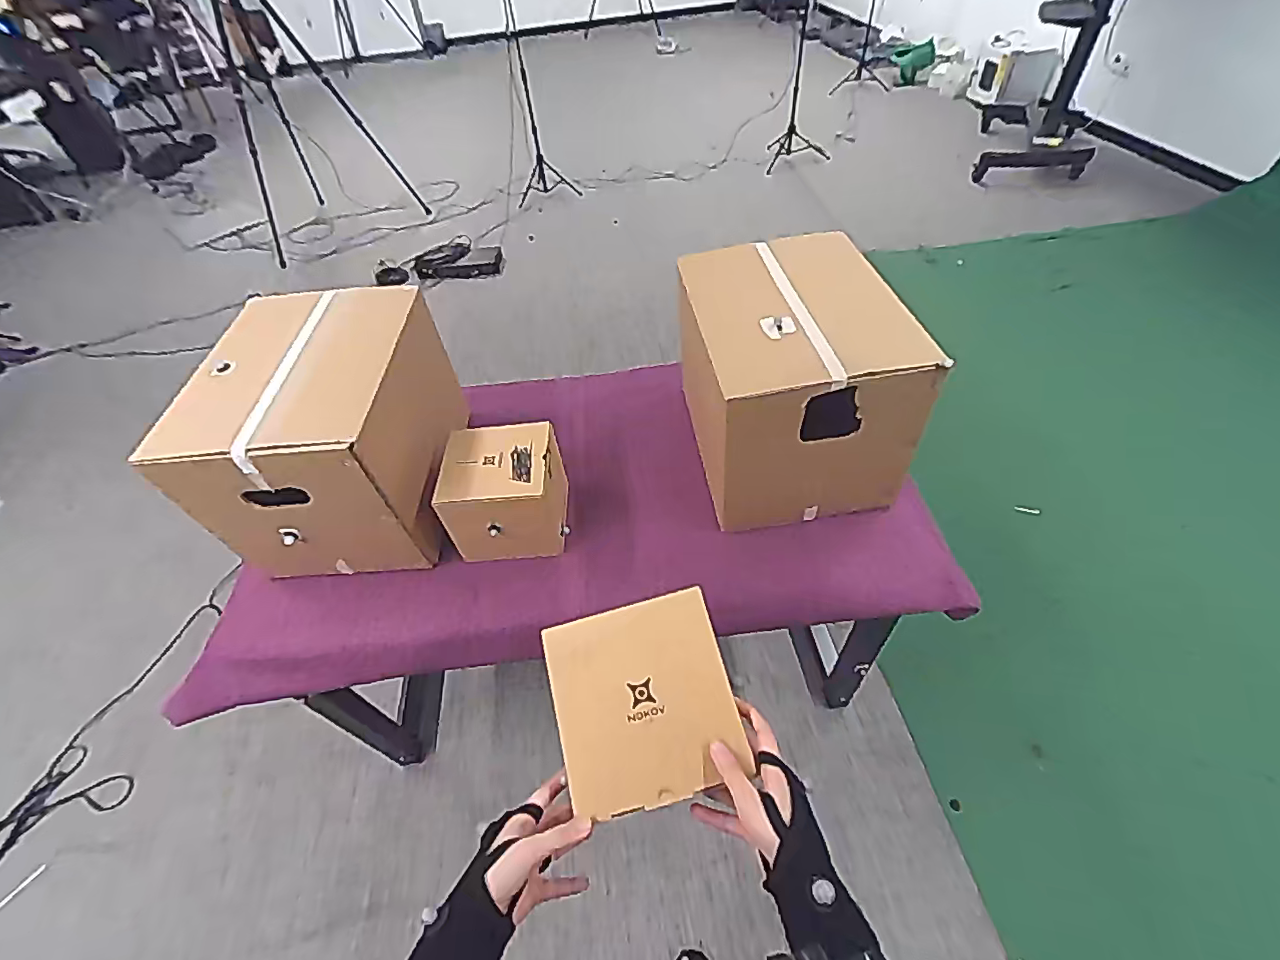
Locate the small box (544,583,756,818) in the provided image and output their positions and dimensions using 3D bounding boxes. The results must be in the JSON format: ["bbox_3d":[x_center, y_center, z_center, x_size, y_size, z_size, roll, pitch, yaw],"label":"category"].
[{"bbox_3d":[0.008,0.230,0.574,0.168,0.176,0.179,-15,65,-2],"label":"small box"}]

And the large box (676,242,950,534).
[{"bbox_3d":[0.256,-0.168,0.968,0.320,0.320,0.408,-10,49,0],"label":"large box"}]
